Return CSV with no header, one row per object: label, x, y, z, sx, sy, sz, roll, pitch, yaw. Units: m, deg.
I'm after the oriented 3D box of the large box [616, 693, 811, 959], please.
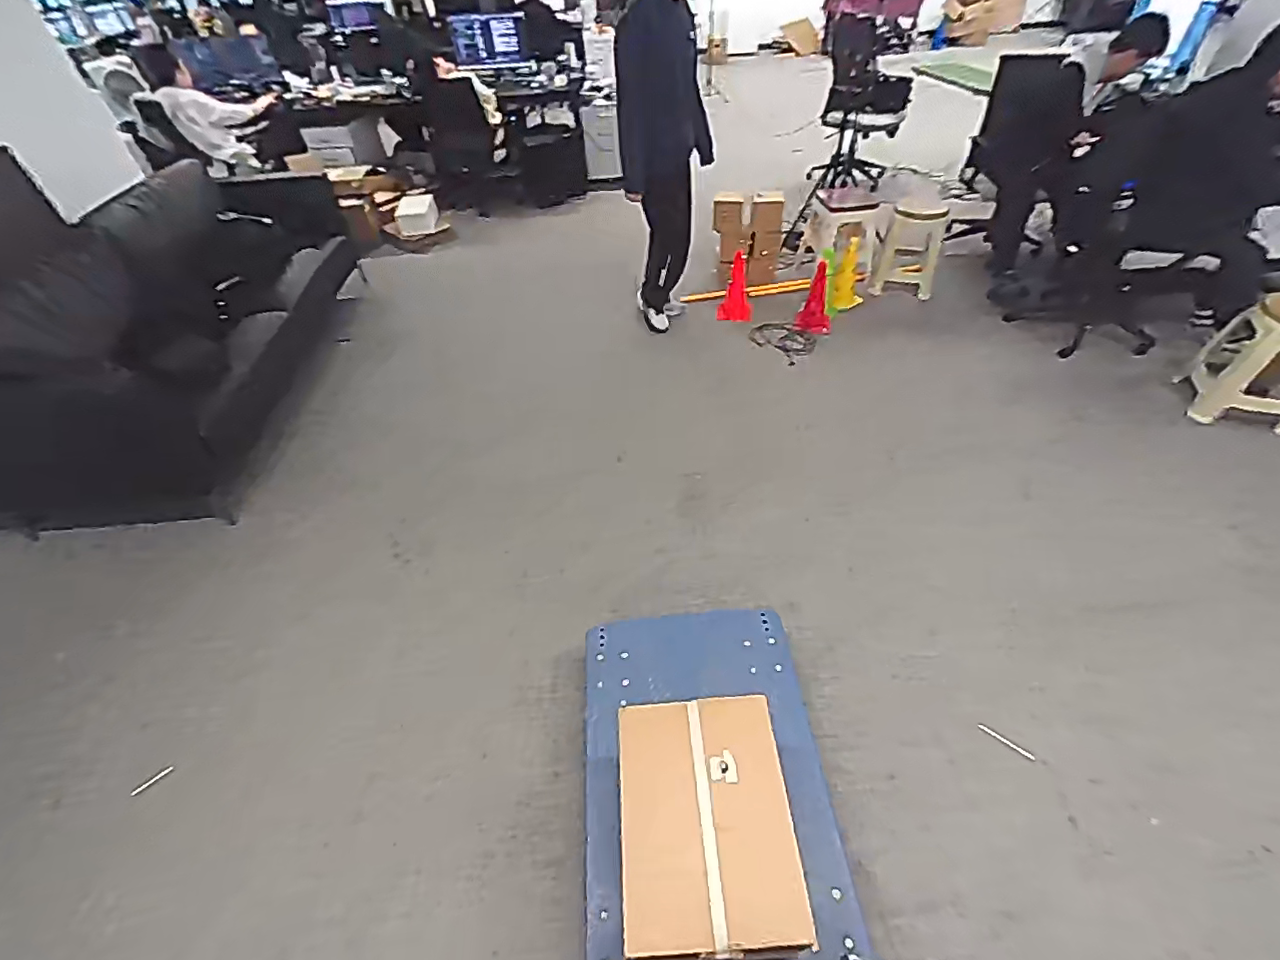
large box,0.127,0.717,1.122,0.320,0.320,0.408,-5,44,0
